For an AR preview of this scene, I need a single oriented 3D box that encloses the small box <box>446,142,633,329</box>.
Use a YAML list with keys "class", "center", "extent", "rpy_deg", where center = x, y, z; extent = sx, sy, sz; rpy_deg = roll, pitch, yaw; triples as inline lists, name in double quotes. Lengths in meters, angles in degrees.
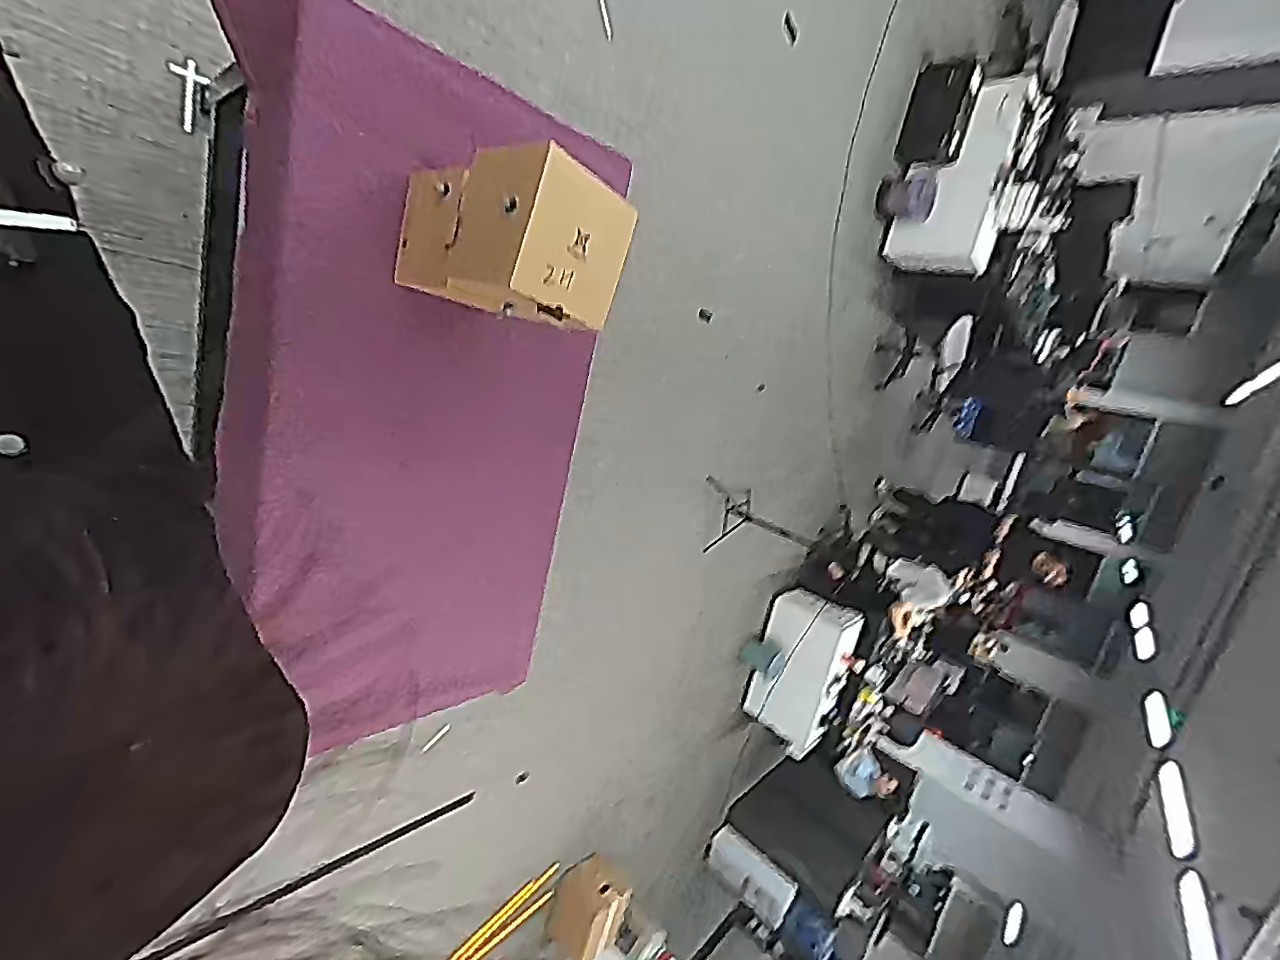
- class: "small box"
  center: [-0.143, -0.331, 0.753]
  extent: [0.168, 0.176, 0.179]
  rpy_deg: [11, 99, -51]
